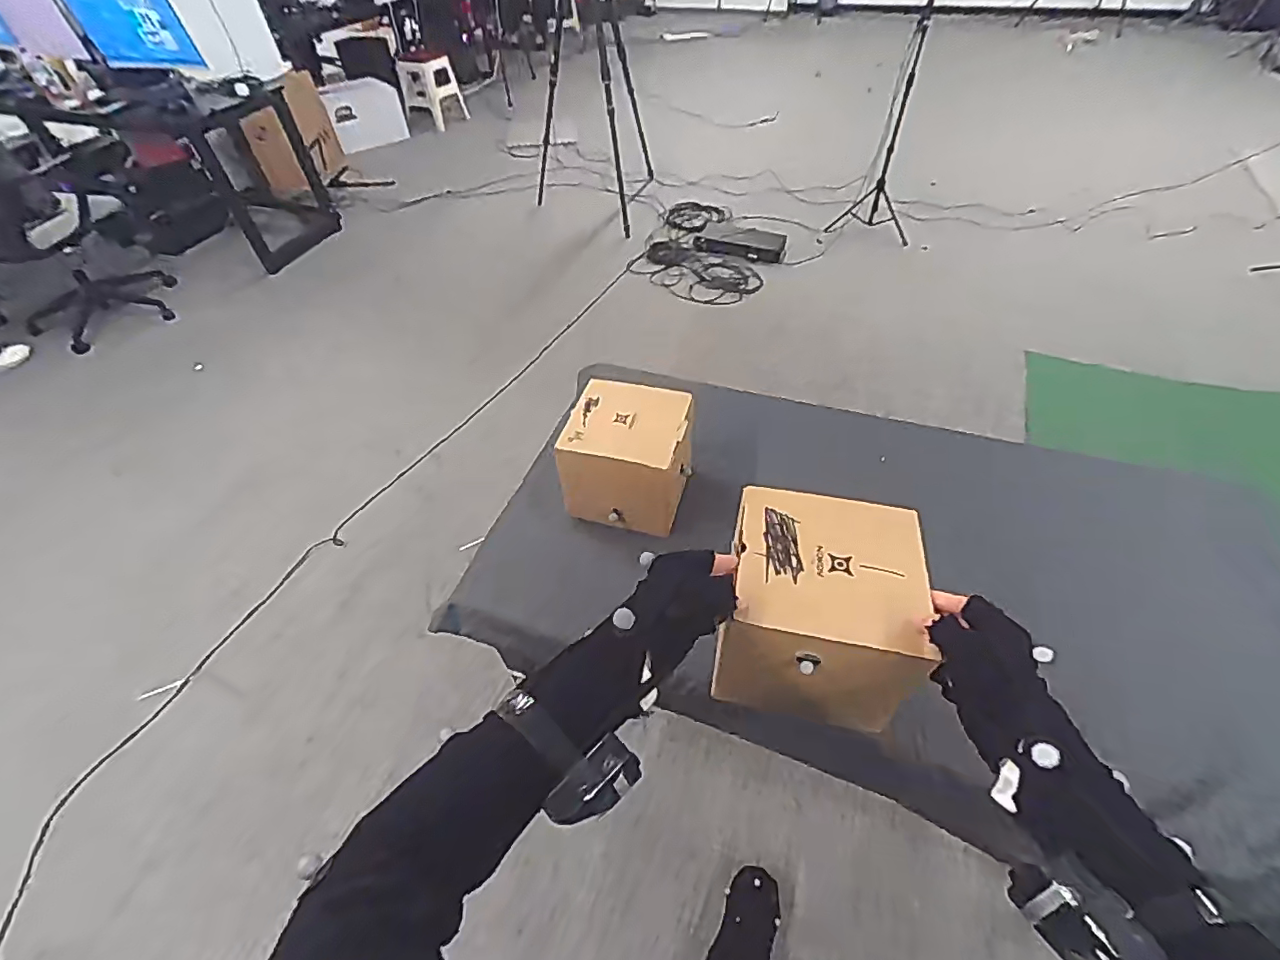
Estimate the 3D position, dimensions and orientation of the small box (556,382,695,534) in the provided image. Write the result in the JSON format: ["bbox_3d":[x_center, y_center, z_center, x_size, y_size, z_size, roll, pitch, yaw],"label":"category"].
[{"bbox_3d":[-0.017,-0.032,0.883,0.179,0.176,0.168,12,51,11],"label":"small box"}]
